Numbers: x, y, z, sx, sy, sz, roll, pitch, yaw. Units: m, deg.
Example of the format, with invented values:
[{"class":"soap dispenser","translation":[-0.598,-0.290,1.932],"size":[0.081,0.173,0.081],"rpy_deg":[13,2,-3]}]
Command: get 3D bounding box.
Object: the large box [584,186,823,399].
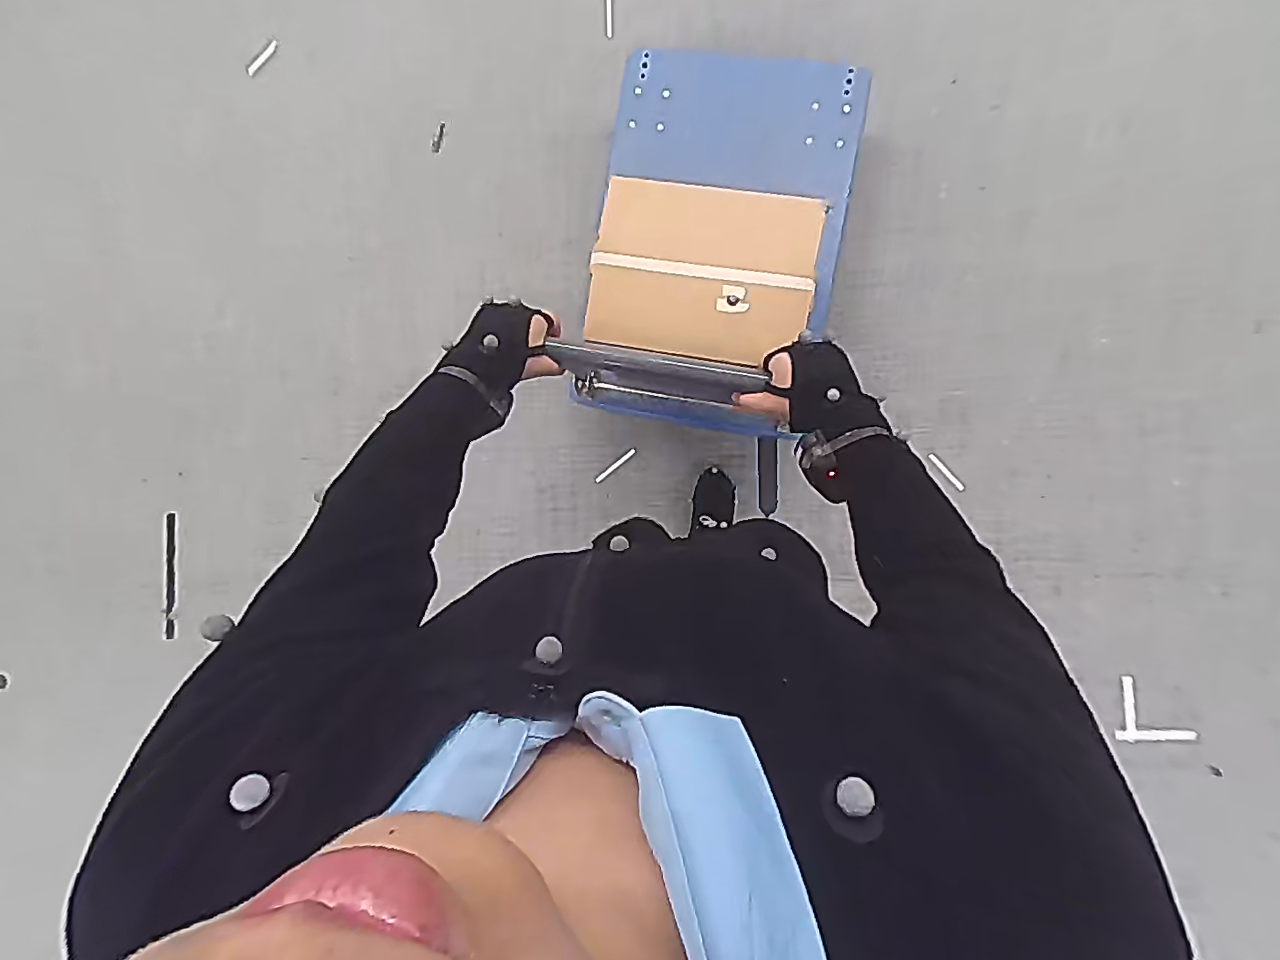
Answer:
[{"class":"large box","translation":[0.126,-0.370,1.137],"size":[0.408,0.320,0.320],"rpy_deg":[10,92,7]}]
